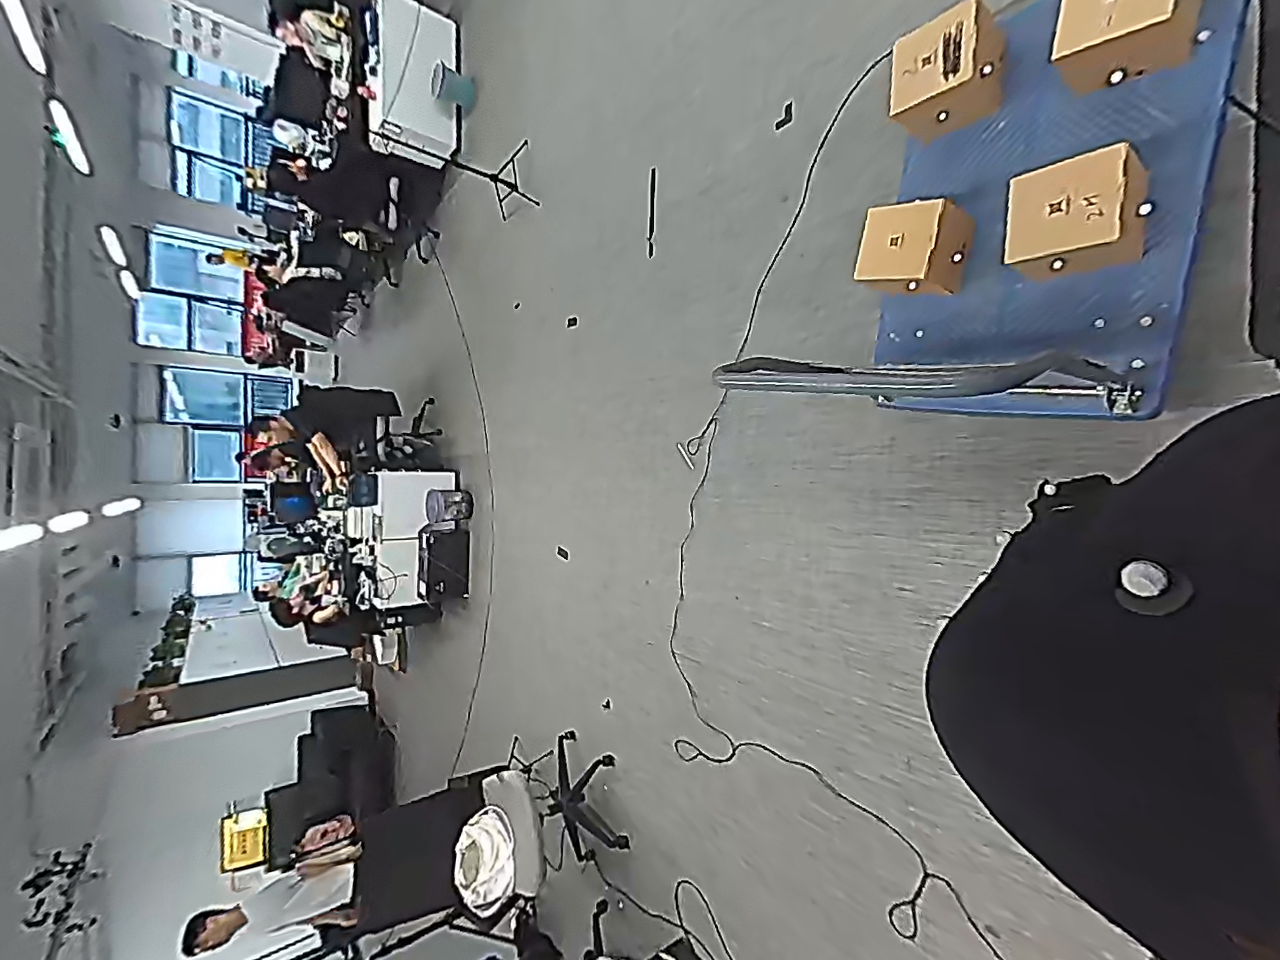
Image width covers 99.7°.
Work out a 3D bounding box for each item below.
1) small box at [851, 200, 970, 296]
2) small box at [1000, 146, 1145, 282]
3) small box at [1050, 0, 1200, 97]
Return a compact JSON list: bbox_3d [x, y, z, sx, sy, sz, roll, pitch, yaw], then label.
[{"bbox_3d":[0.637,-0.536,1.275,0.179,0.176,0.168,22,106,48],"label":"small box"},{"bbox_3d":[0.827,-0.493,1.036,0.179,0.176,0.168,7,95,51],"label":"small box"},{"bbox_3d":[0.877,-0.842,0.973,0.168,0.176,0.179,16,104,50],"label":"small box"}]
